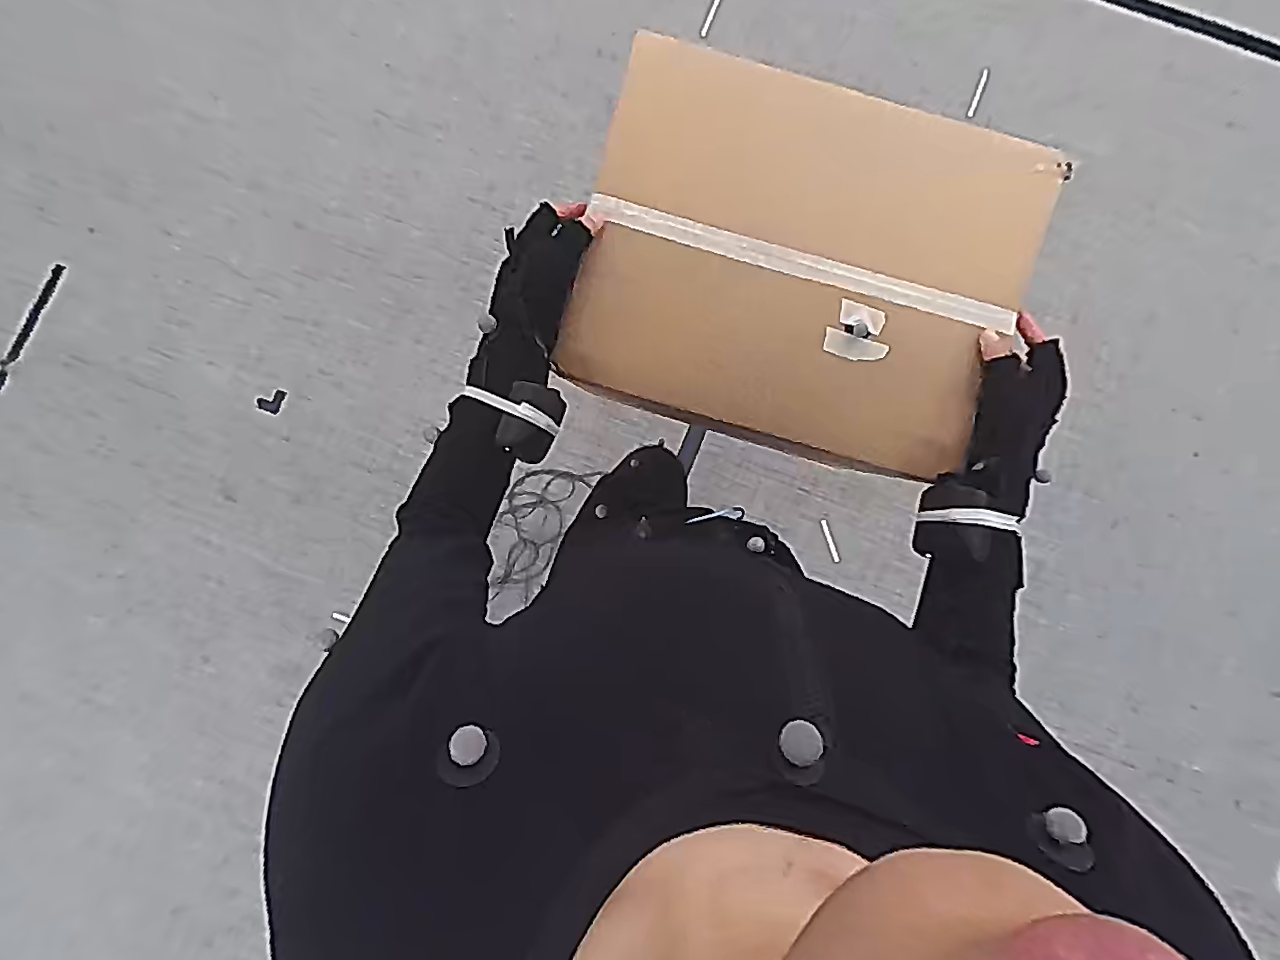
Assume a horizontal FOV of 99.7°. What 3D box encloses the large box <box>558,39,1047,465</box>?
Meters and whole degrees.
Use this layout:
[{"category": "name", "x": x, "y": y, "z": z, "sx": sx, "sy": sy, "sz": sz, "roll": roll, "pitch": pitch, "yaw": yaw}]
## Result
[{"category": "large box", "x": 0.149, "y": -0.225, "z": 0.660, "sx": 0.408, "sy": 0.320, "sz": 0.320, "roll": 16, "pitch": 97, "yaw": 0}]
